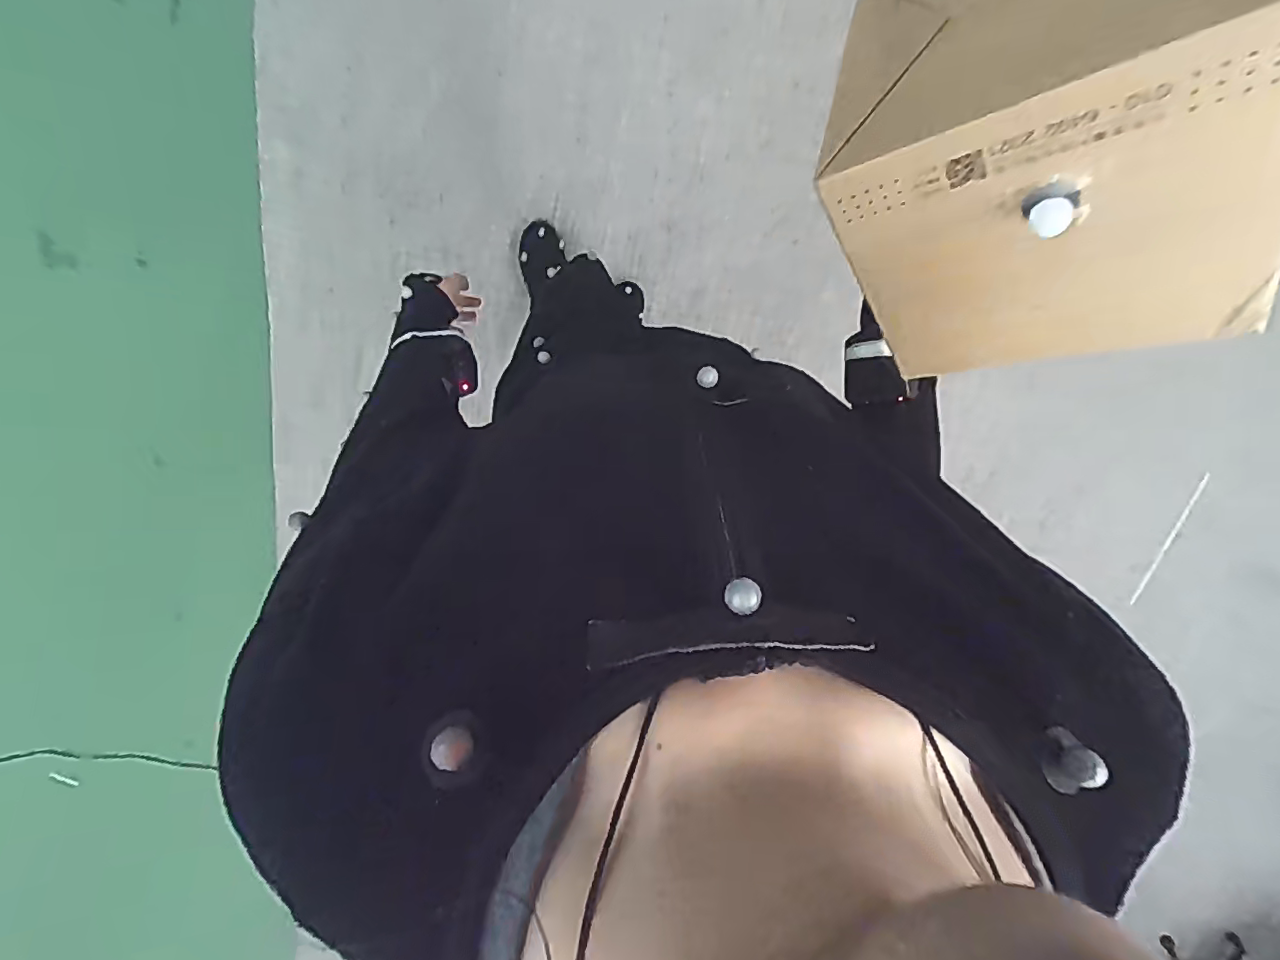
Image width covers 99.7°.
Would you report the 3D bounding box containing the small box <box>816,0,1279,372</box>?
[{"bbox_3d":[0.214,-0.187,0.291,0.176,0.168,0.179,37,62,-41],"label":"small box"}]
